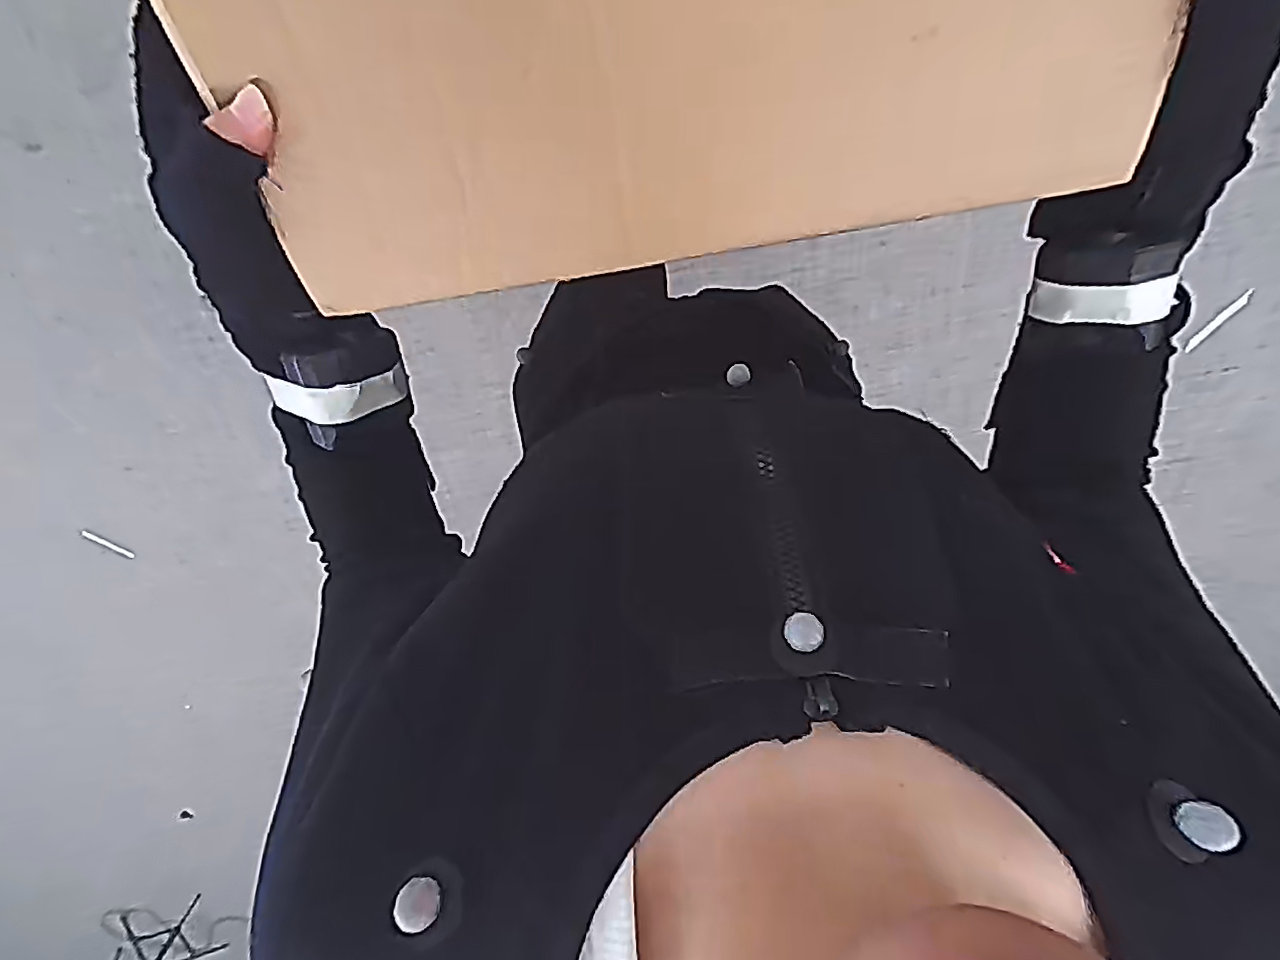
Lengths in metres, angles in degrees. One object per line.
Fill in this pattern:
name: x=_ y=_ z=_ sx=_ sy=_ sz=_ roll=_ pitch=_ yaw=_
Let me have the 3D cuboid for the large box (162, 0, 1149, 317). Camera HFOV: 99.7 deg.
large box: x=0.000 y=-0.329 z=0.304 sx=0.408 sy=0.320 sz=0.320 roll=-8 pitch=127 yaw=4
